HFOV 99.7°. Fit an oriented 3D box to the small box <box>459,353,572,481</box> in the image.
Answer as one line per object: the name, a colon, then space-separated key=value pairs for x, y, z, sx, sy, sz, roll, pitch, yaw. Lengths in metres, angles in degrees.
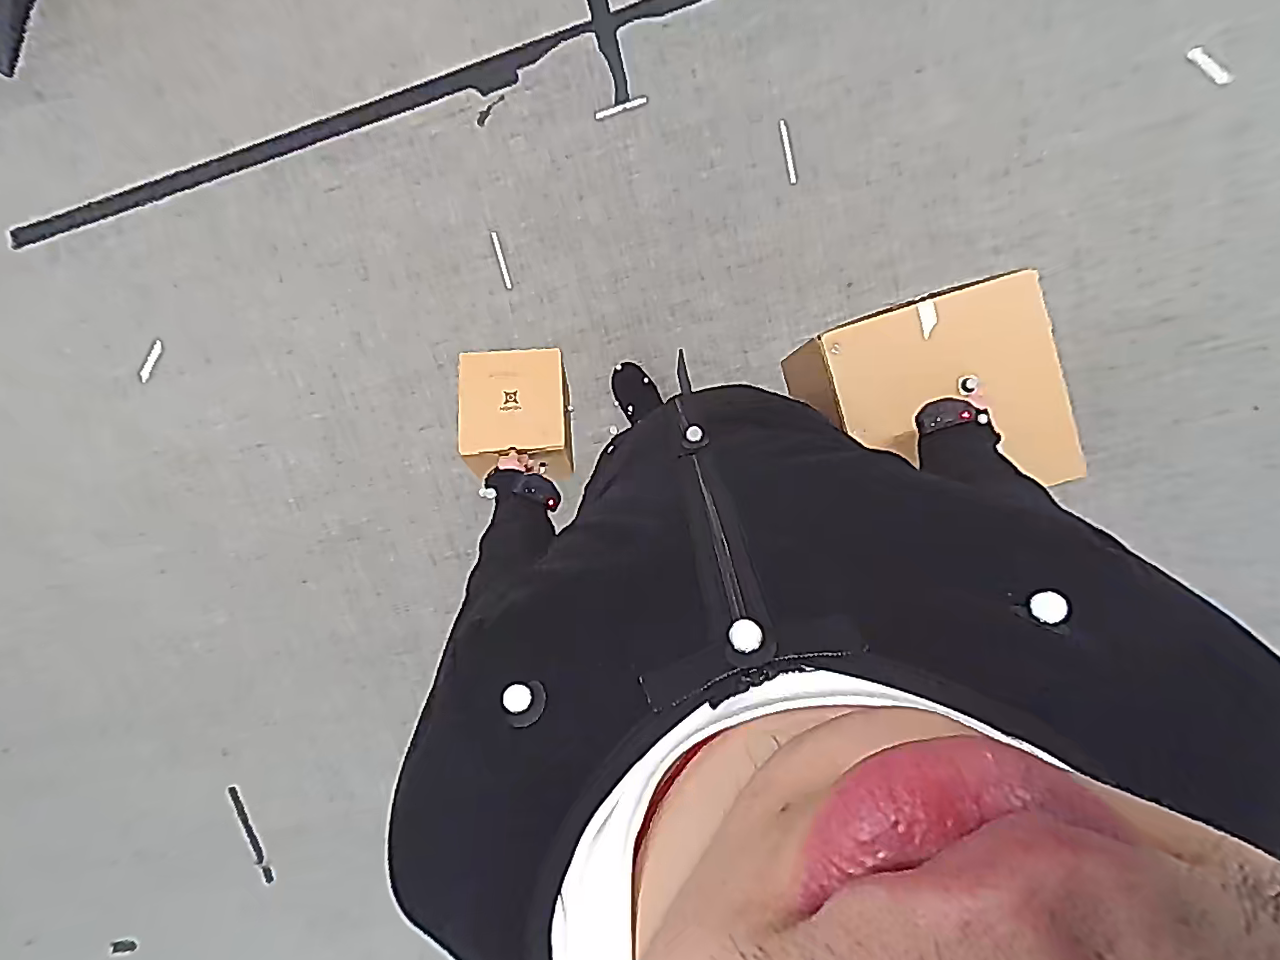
small box: x=-0.210 y=-0.100 z=0.940 sx=0.168 sy=0.176 sz=0.179 roll=-4 pitch=74 yaw=-4
